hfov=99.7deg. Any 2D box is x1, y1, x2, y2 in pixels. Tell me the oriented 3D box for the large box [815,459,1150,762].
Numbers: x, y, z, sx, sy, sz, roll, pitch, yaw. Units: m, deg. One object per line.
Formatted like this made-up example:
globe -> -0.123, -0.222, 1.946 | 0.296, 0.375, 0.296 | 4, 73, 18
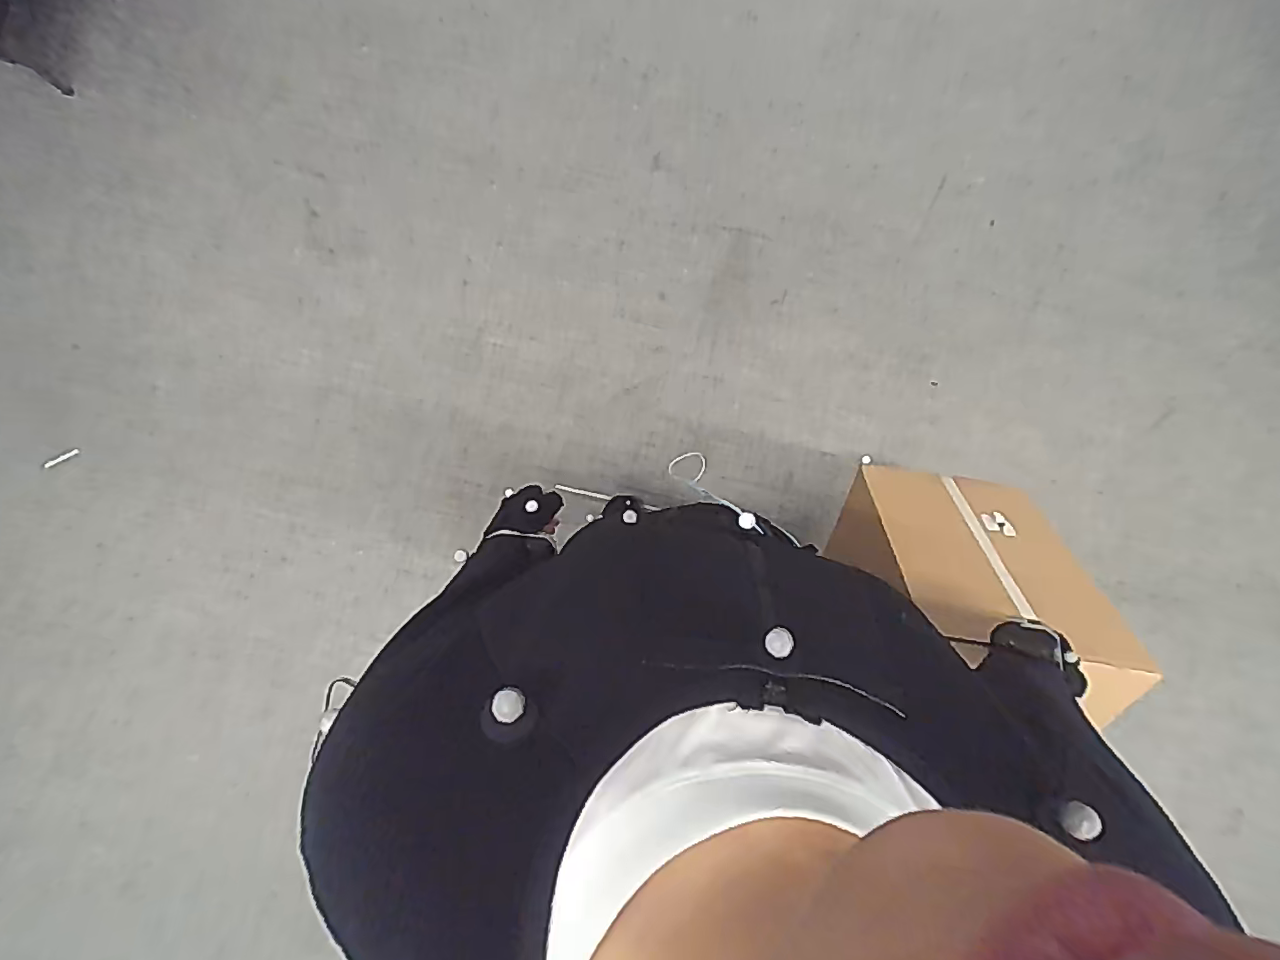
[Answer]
large box -> 0.531, 0.216, 0.961 | 0.320, 0.408, 0.320 | 9, 126, 1
